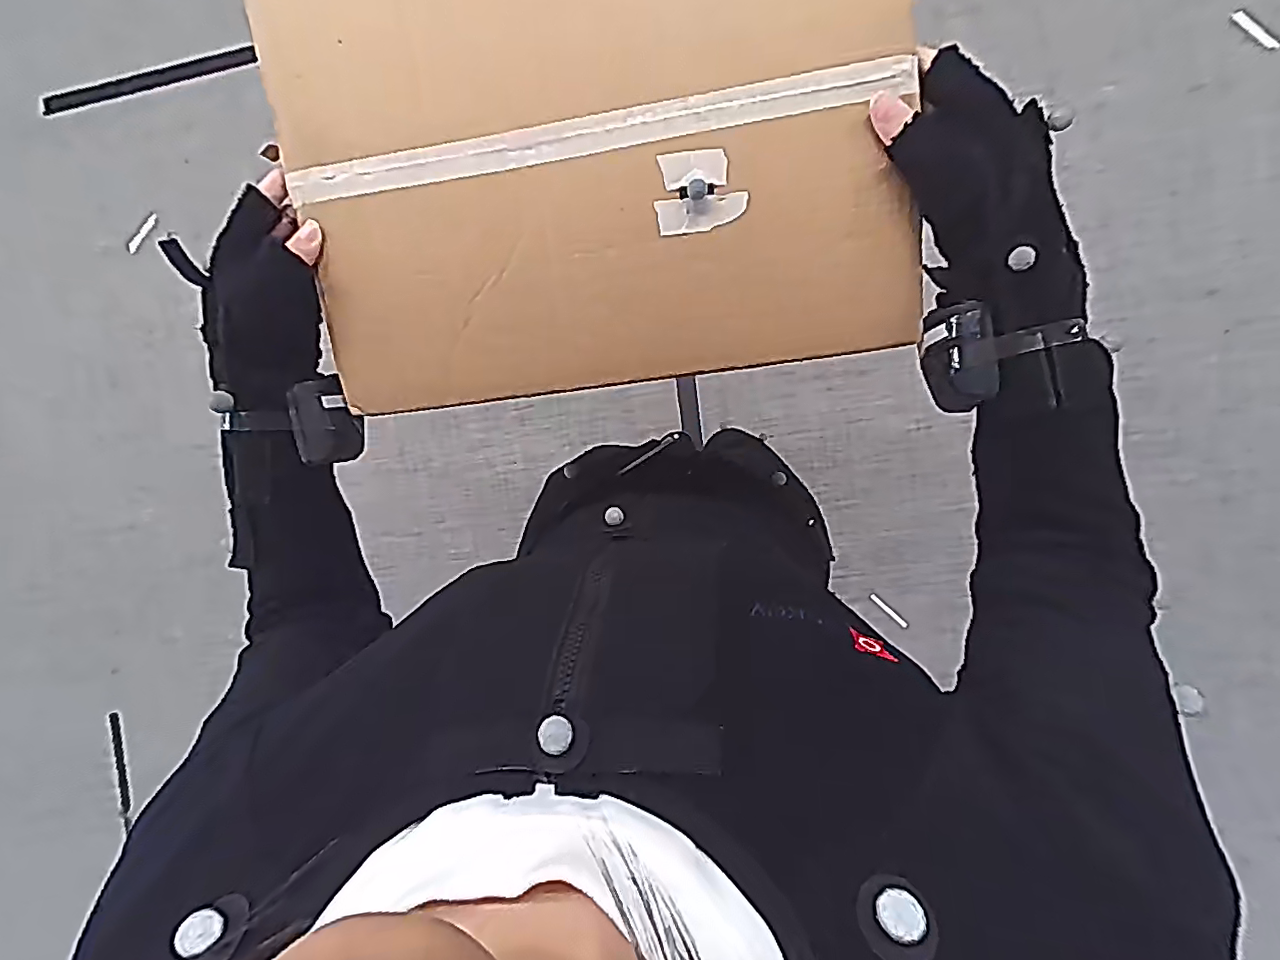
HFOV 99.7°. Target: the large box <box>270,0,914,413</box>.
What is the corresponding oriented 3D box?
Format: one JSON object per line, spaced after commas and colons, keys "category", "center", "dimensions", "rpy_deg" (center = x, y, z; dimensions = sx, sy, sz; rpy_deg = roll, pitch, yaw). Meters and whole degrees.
{"category": "large box", "center": [-0.021, -0.256, 0.505], "dimensions": [0.408, 0.320, 0.320], "rpy_deg": [-7, 103, 5]}
